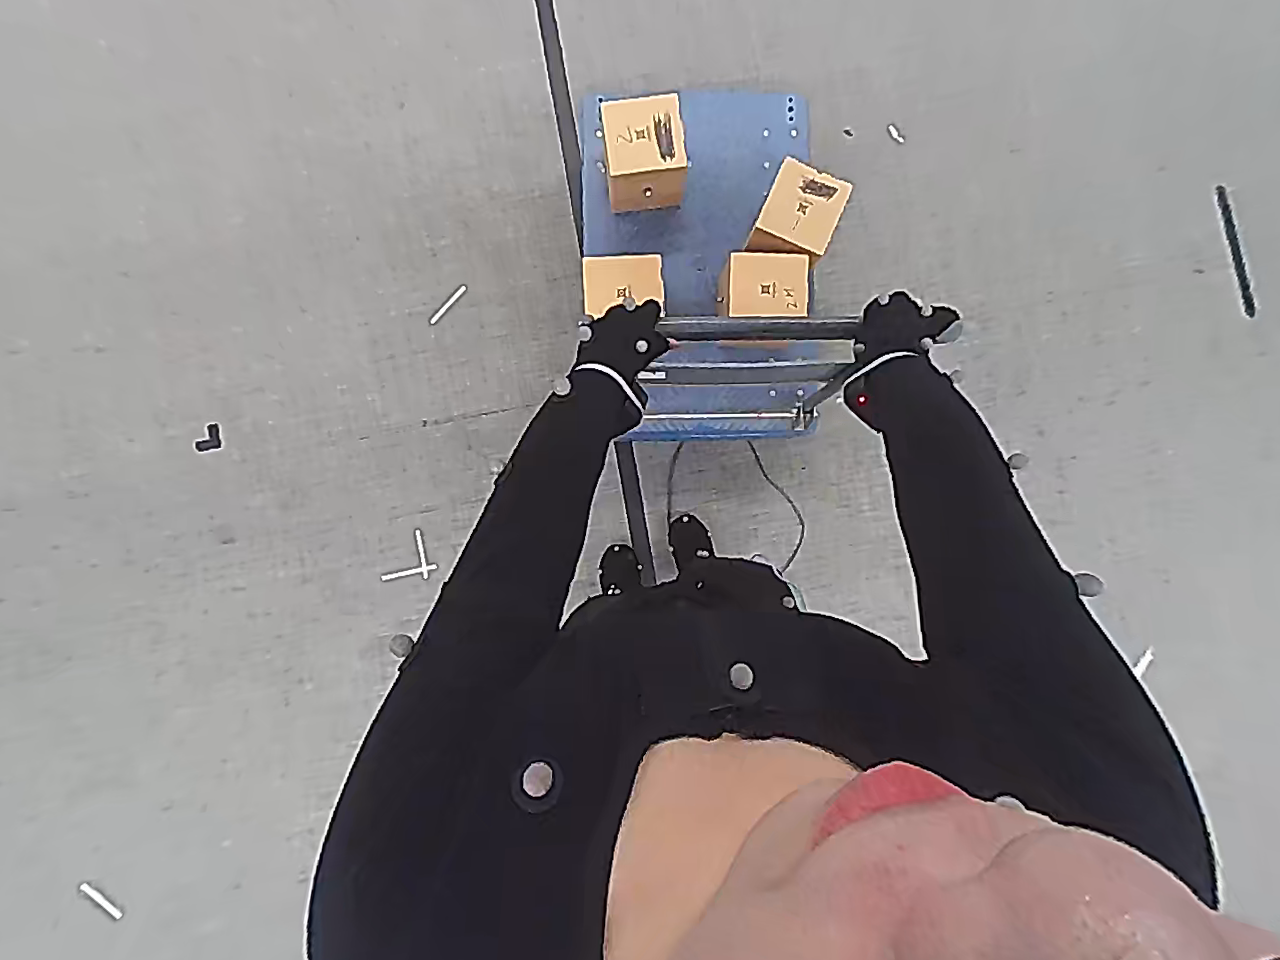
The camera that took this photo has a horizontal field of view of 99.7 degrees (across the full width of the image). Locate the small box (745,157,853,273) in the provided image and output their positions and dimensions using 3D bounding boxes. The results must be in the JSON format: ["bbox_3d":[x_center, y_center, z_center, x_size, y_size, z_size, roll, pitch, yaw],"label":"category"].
[{"bbox_3d":[0.361,-0.600,1.268,0.168,0.176,0.179,24,89,0],"label":"small box"}]

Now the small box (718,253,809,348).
[{"bbox_3d":[0.281,-0.411,1.263,0.179,0.176,0.168,2,89,-1],"label":"small box"}]

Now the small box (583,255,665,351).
[{"bbox_3d":[-0.037,-0.404,1.259,0.179,0.176,0.168,-3,88,-2],"label":"small box"}]
